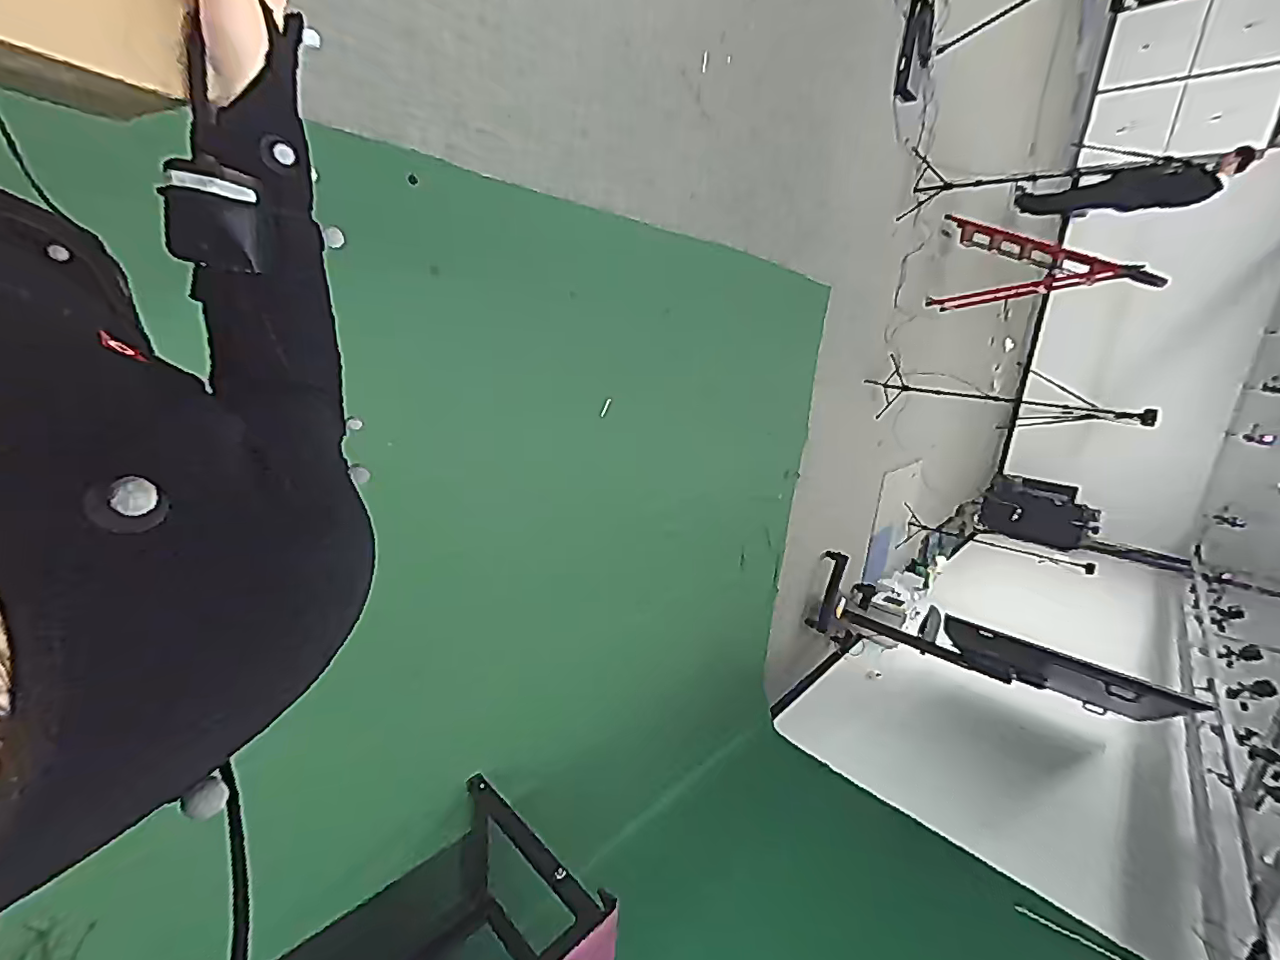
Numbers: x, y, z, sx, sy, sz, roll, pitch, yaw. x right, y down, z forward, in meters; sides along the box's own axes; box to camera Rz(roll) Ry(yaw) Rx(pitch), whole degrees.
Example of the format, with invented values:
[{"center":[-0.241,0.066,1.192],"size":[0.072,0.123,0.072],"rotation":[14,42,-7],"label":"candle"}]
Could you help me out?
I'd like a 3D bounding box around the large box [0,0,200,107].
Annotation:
[{"center":[-0.508,-0.431,0.254],"size":[0.408,0.320,0.320],"rotation":[-10,119,-50],"label":"large box"}]
